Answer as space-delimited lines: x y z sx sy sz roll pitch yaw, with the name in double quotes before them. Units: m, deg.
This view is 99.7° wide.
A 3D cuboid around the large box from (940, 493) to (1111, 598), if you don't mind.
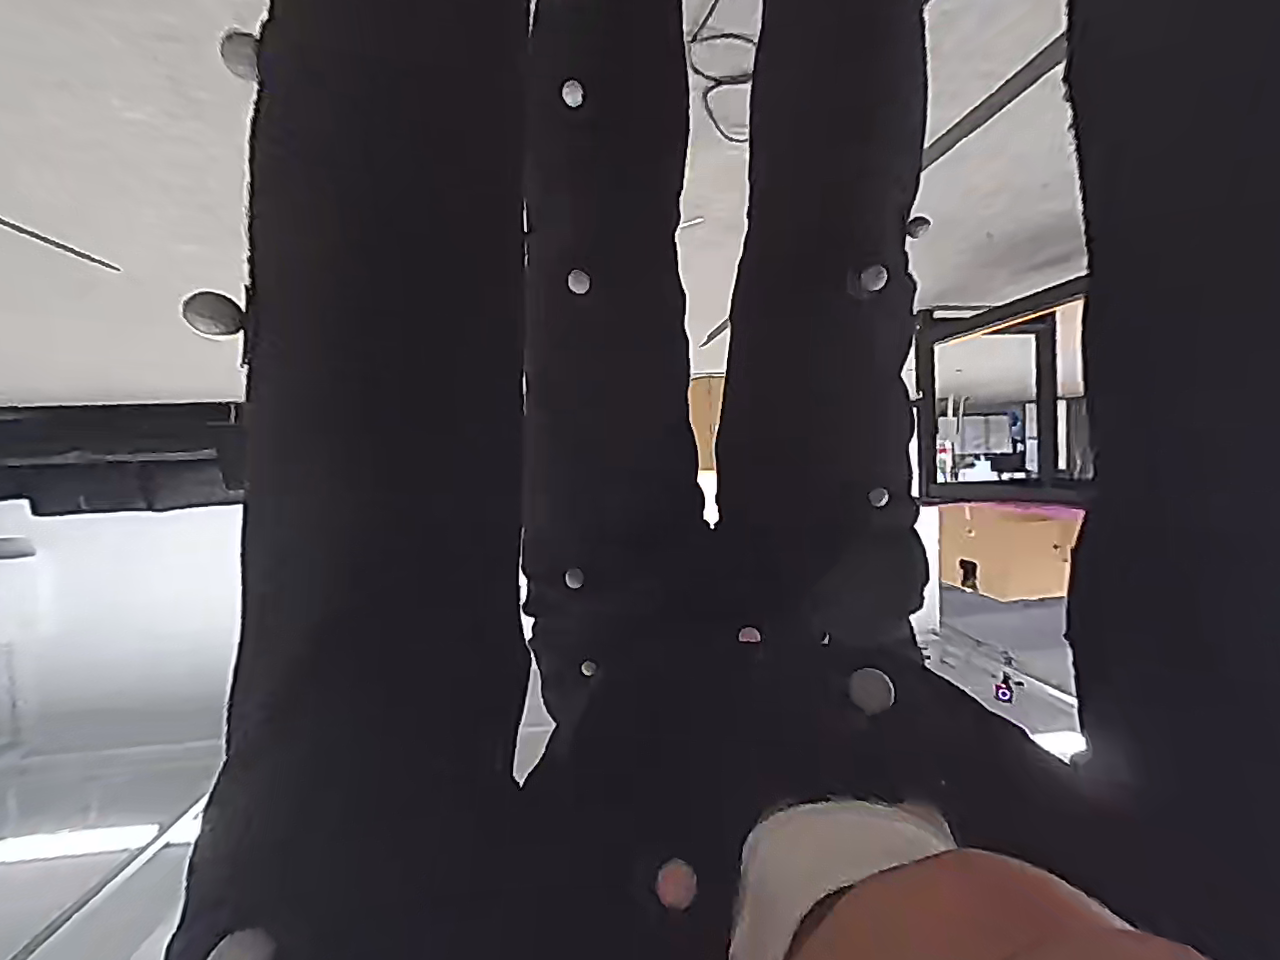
"large box" 1.360 0.220 1.935 0.408 0.320 0.320 -3 -177 -7
